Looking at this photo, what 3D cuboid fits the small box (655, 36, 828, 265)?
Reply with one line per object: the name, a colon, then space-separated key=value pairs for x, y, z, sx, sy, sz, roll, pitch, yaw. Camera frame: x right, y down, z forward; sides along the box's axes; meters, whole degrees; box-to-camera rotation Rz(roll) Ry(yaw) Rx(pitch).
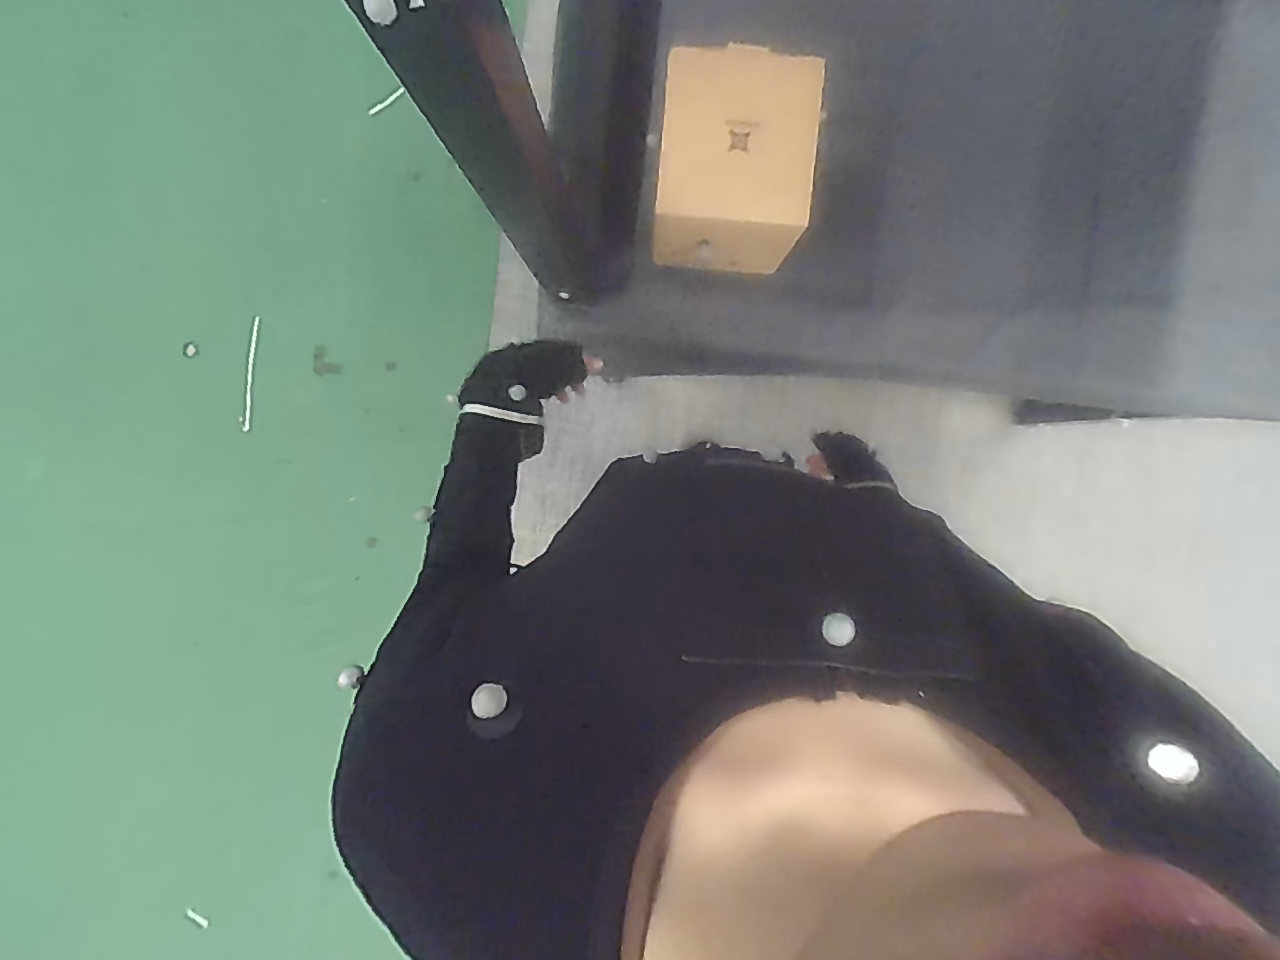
small box: x=0.108 y=-0.372 z=0.643 sx=0.168 sy=0.176 sz=0.179 roll=5 pitch=93 yaw=1
